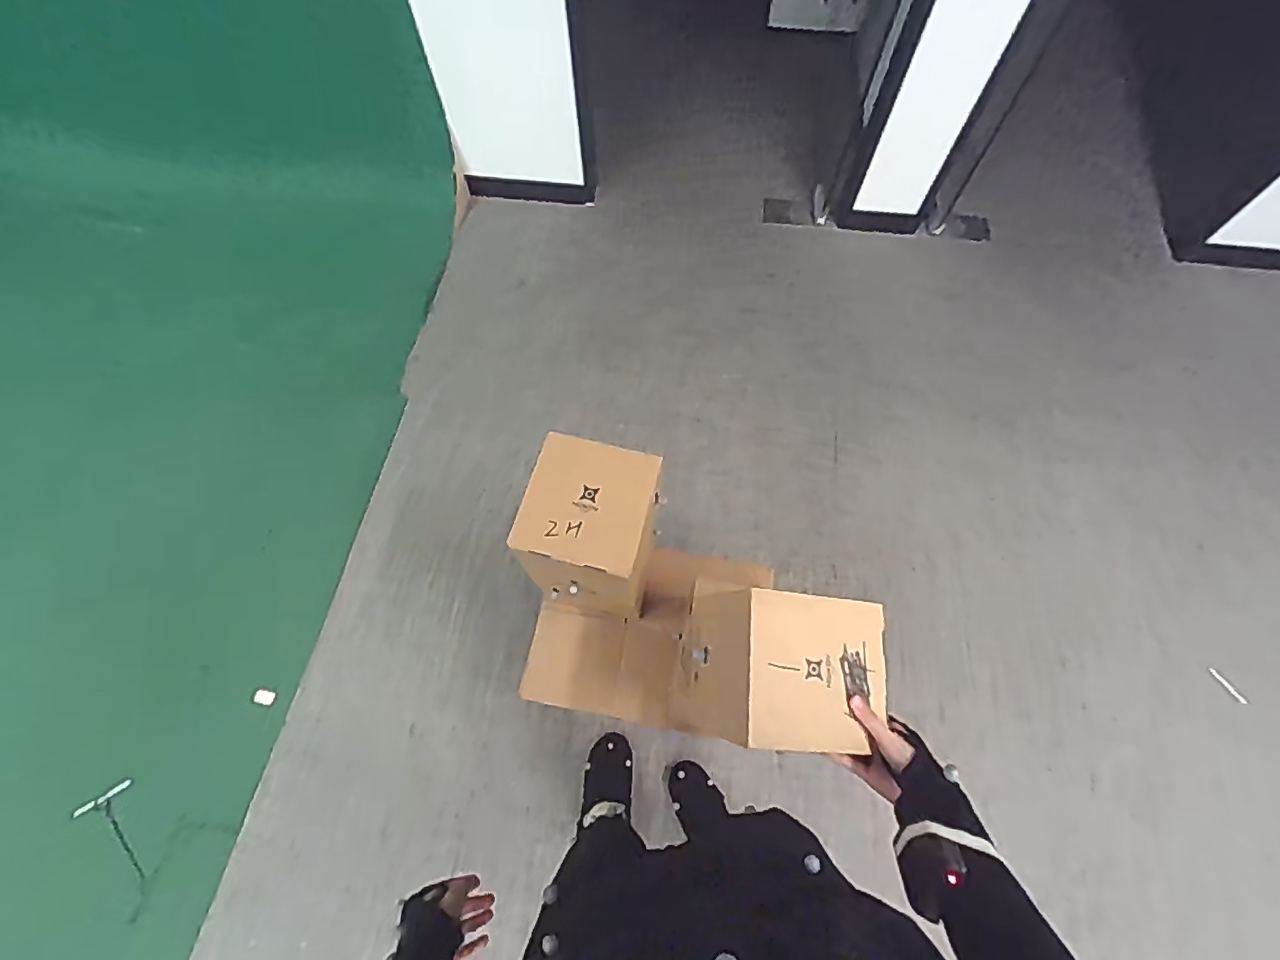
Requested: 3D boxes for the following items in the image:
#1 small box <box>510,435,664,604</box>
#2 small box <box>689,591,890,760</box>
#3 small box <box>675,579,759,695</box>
[{"bbox_3d":[-0.067,0.063,0.787,0.168,0.176,0.179,13,67,8],"label":"small box"},{"bbox_3d":[0.176,0.234,0.666,0.179,0.176,0.168,10,71,-14],"label":"small box"},{"bbox_3d":[0.155,0.271,0.866,0.179,0.176,0.168,11,69,6],"label":"small box"}]
